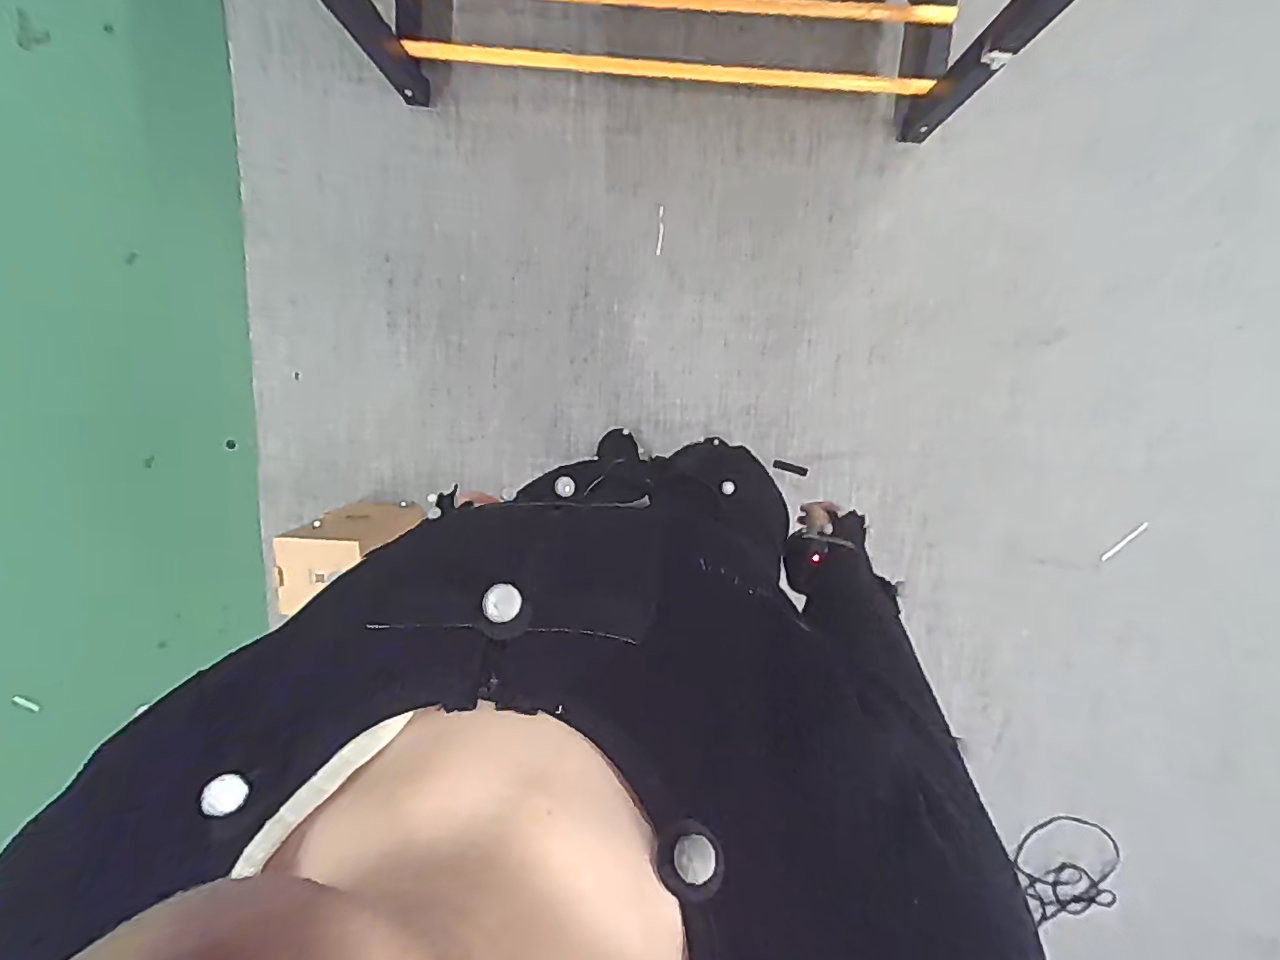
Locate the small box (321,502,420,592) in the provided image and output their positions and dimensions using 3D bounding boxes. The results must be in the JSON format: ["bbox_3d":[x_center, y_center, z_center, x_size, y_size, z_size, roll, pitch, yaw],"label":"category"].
[{"bbox_3d":[-0.651,0.155,1.317,0.168,0.176,0.179,5,100,0],"label":"small box"}]

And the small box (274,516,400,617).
[{"bbox_3d":[-0.638,0.178,1.156,0.179,0.176,0.168,2,100,0],"label":"small box"}]
